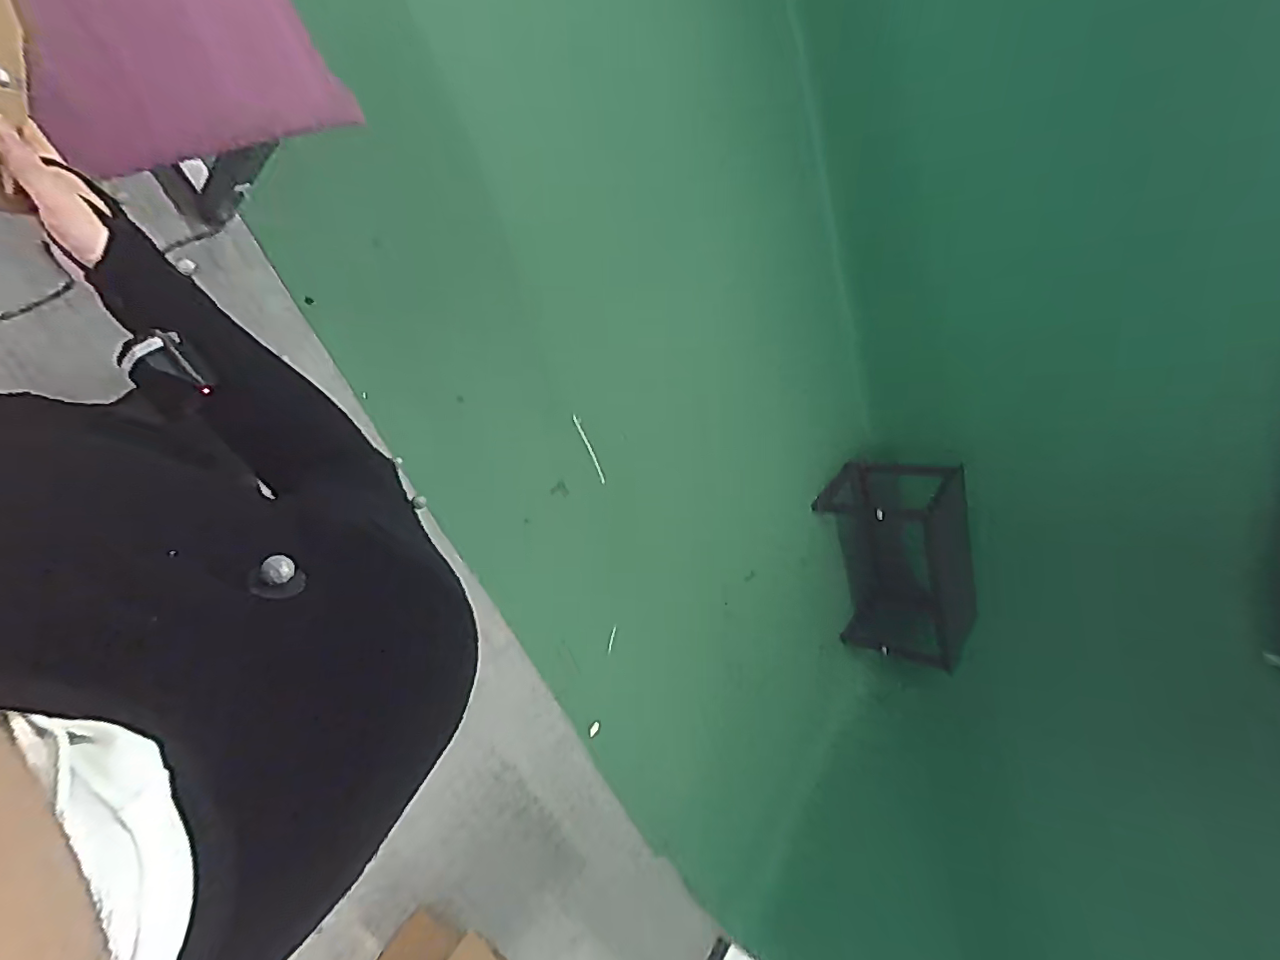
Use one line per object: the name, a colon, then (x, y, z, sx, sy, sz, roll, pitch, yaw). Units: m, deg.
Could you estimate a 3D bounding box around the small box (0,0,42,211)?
small box: (-0.548, -0.302, 0.361, 0.179, 0.176, 0.168, -1, 100, -40)
